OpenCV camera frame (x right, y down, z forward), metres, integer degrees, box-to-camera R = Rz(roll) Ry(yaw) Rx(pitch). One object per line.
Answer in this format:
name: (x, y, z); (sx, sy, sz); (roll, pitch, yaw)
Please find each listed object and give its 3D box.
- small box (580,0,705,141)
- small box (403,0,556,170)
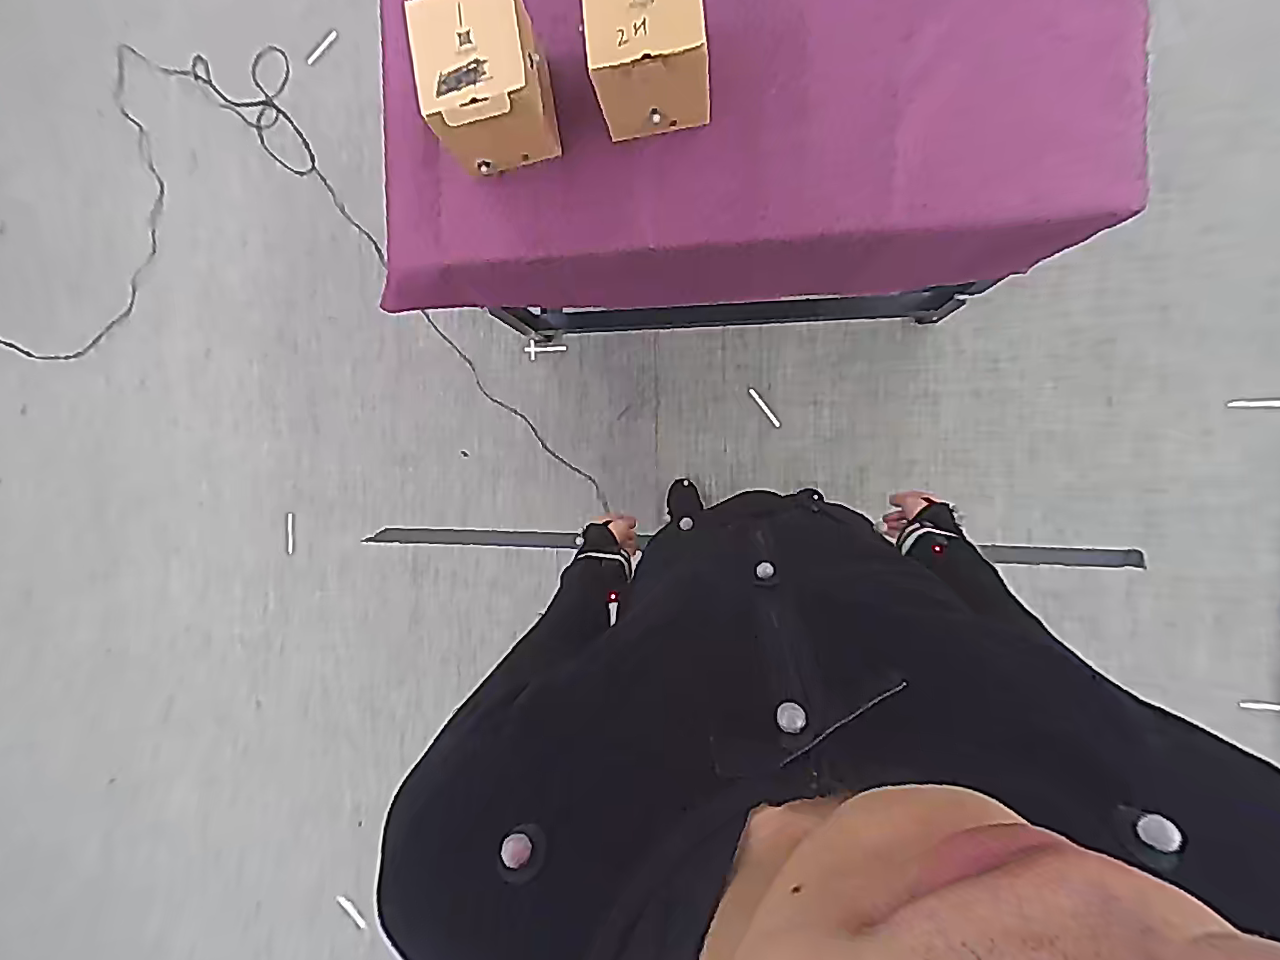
small box: (0.009, -0.659, 0.818); (0.168, 0.176, 0.179); (-5, 91, 9)
small box: (-0.243, -0.623, 0.857); (0.168, 0.176, 0.179); (-9, 89, 8)
